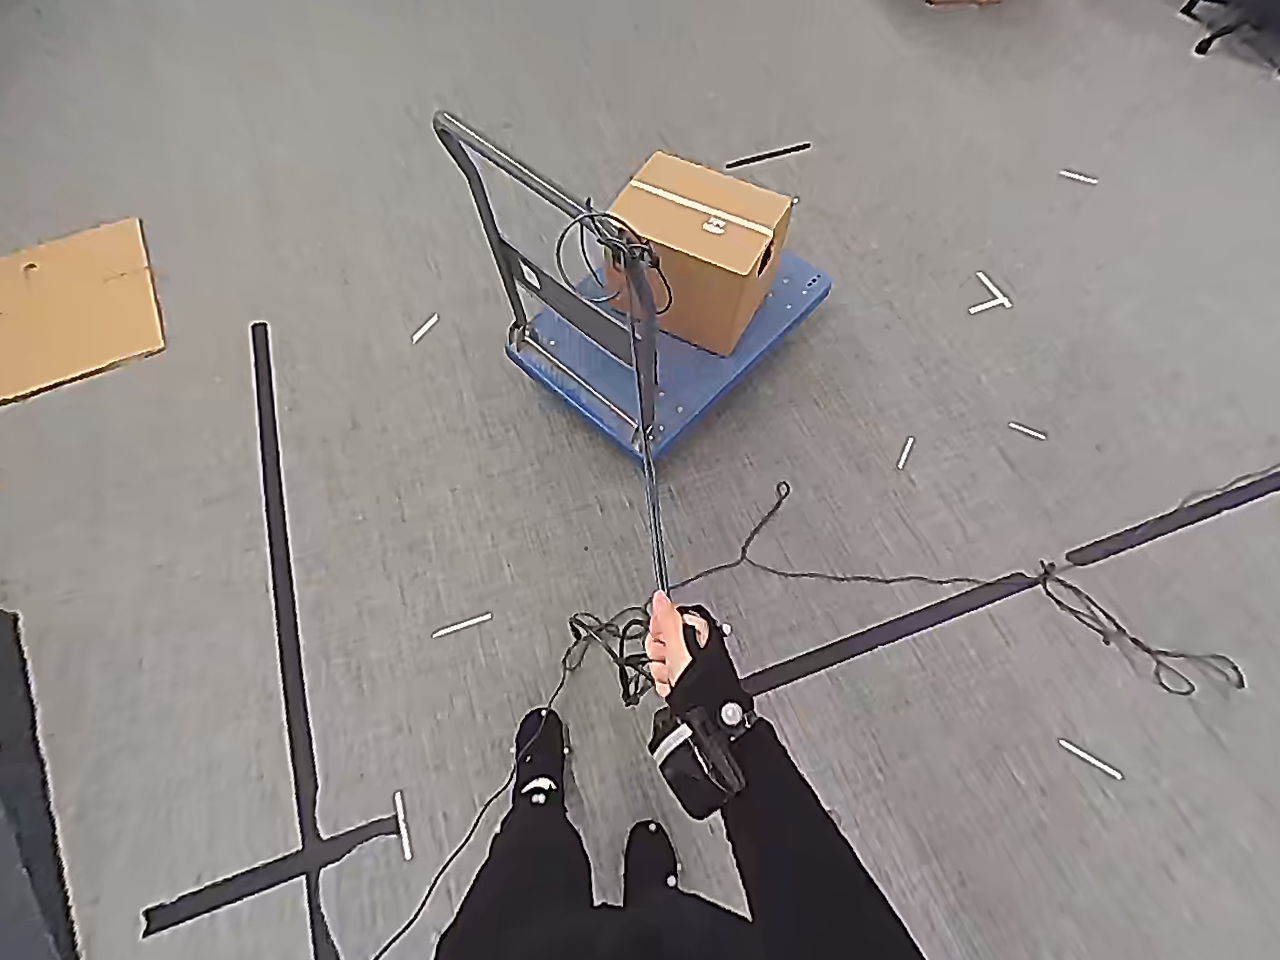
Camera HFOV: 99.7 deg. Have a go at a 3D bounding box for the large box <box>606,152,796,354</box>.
[{"bbox_3d":[0.153,-0.620,1.498,0.408,0.320,0.320,27,68,11],"label":"large box"}]
